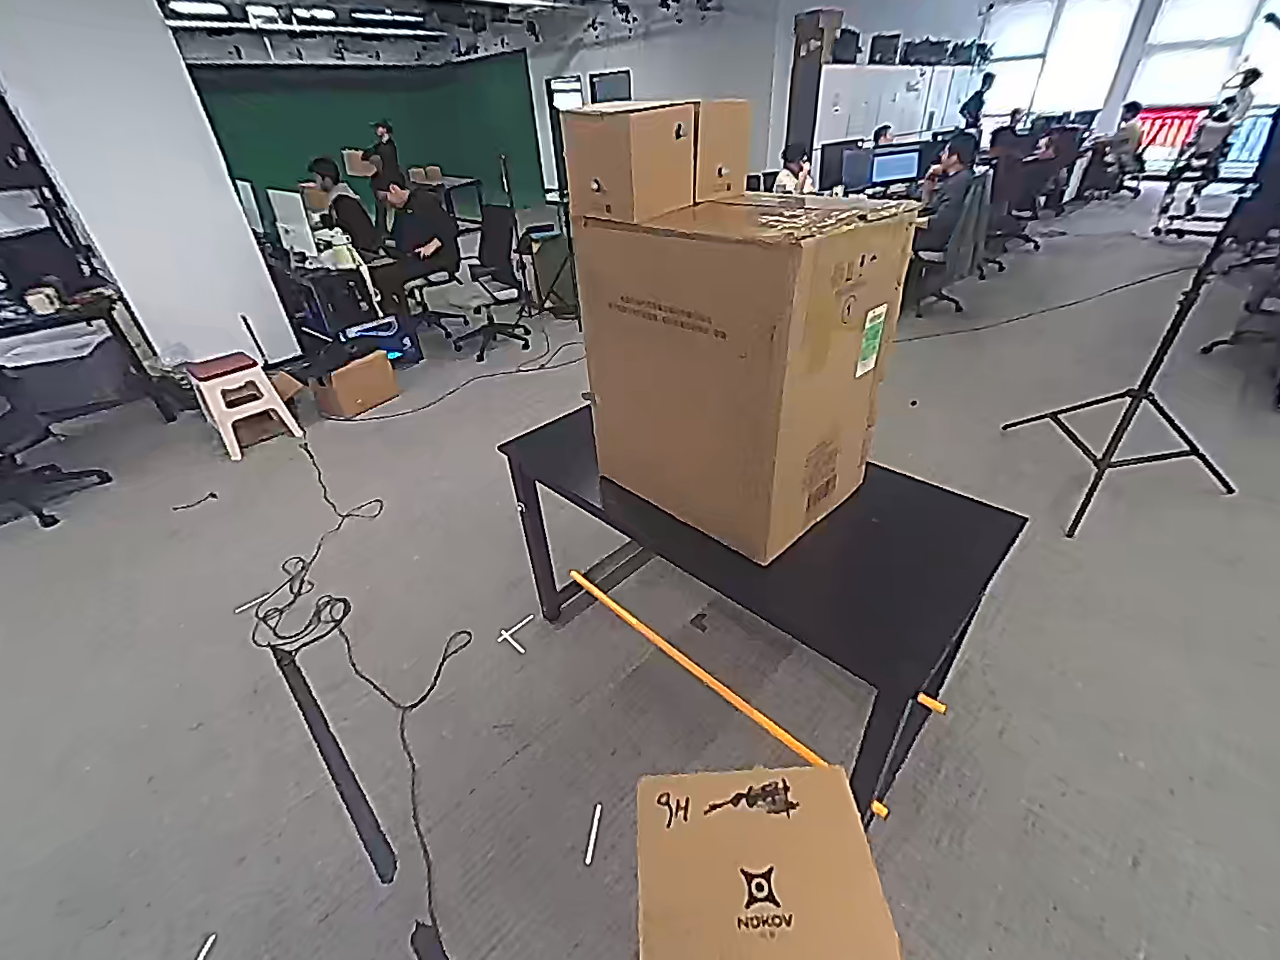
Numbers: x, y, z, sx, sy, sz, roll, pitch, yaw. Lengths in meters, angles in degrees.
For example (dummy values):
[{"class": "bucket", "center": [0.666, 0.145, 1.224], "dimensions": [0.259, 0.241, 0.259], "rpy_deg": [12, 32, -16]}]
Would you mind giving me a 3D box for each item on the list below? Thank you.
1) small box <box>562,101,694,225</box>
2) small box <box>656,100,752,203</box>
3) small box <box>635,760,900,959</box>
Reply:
[{"class": "small box", "center": [-0.018, -0.582, 0.988], "dimensions": [0.168, 0.176, 0.179], "rpy_deg": [26, 47, 33]}, {"class": "small box", "center": [0.102, -0.665, 1.097], "dimensions": [0.168, 0.176, 0.179], "rpy_deg": [-30, 44, -35]}, {"class": "small box", "center": [0.086, 0.342, 0.410], "dimensions": [0.168, 0.176, 0.179], "rpy_deg": [-4, 38, 1]}]
